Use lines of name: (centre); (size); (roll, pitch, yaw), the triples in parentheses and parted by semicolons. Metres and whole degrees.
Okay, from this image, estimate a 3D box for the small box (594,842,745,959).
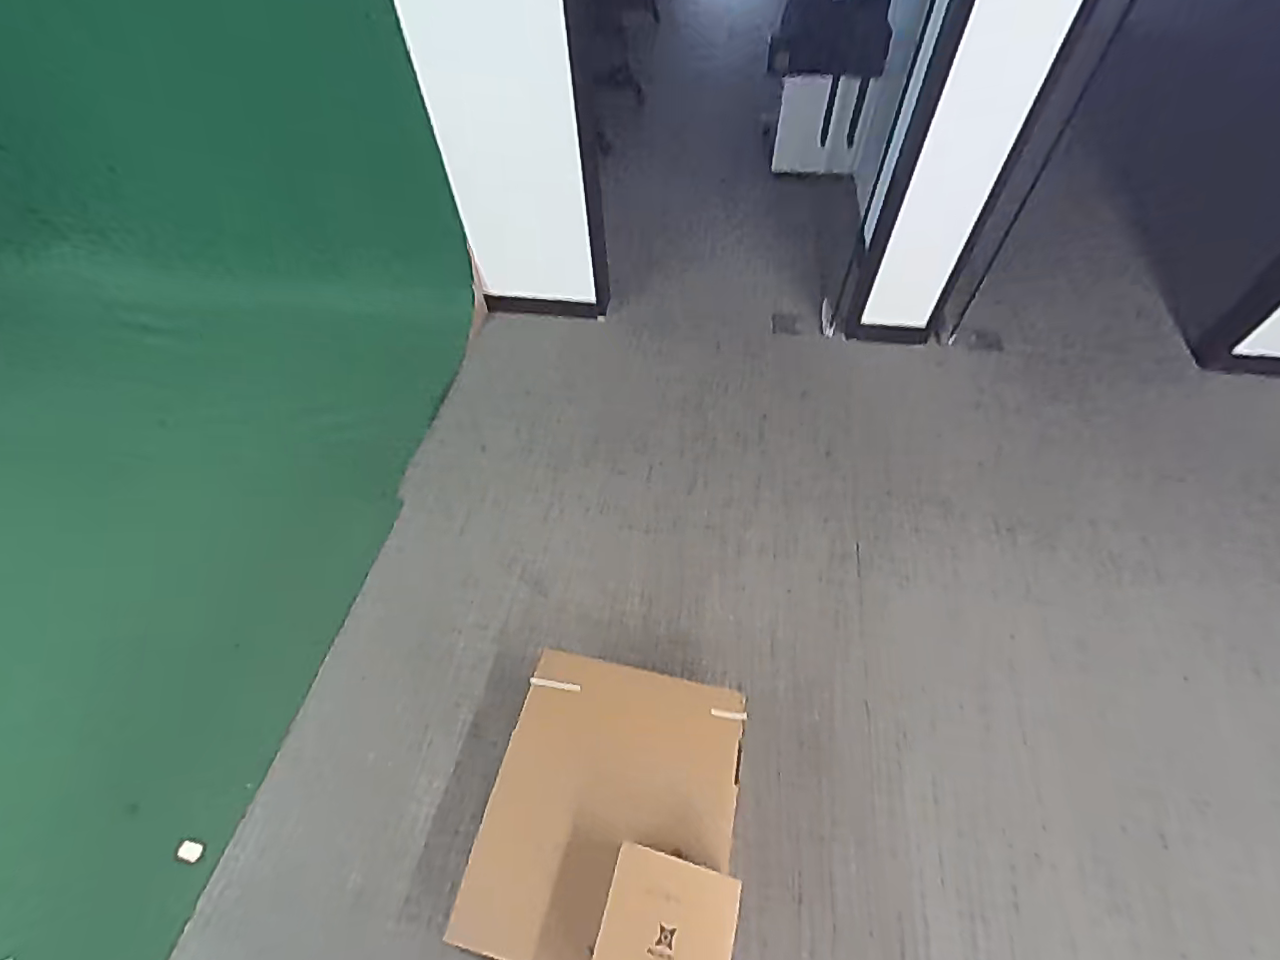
small box: (0.035, 0.620, 0.728); (0.168, 0.176, 0.179); (13, 54, 10)
